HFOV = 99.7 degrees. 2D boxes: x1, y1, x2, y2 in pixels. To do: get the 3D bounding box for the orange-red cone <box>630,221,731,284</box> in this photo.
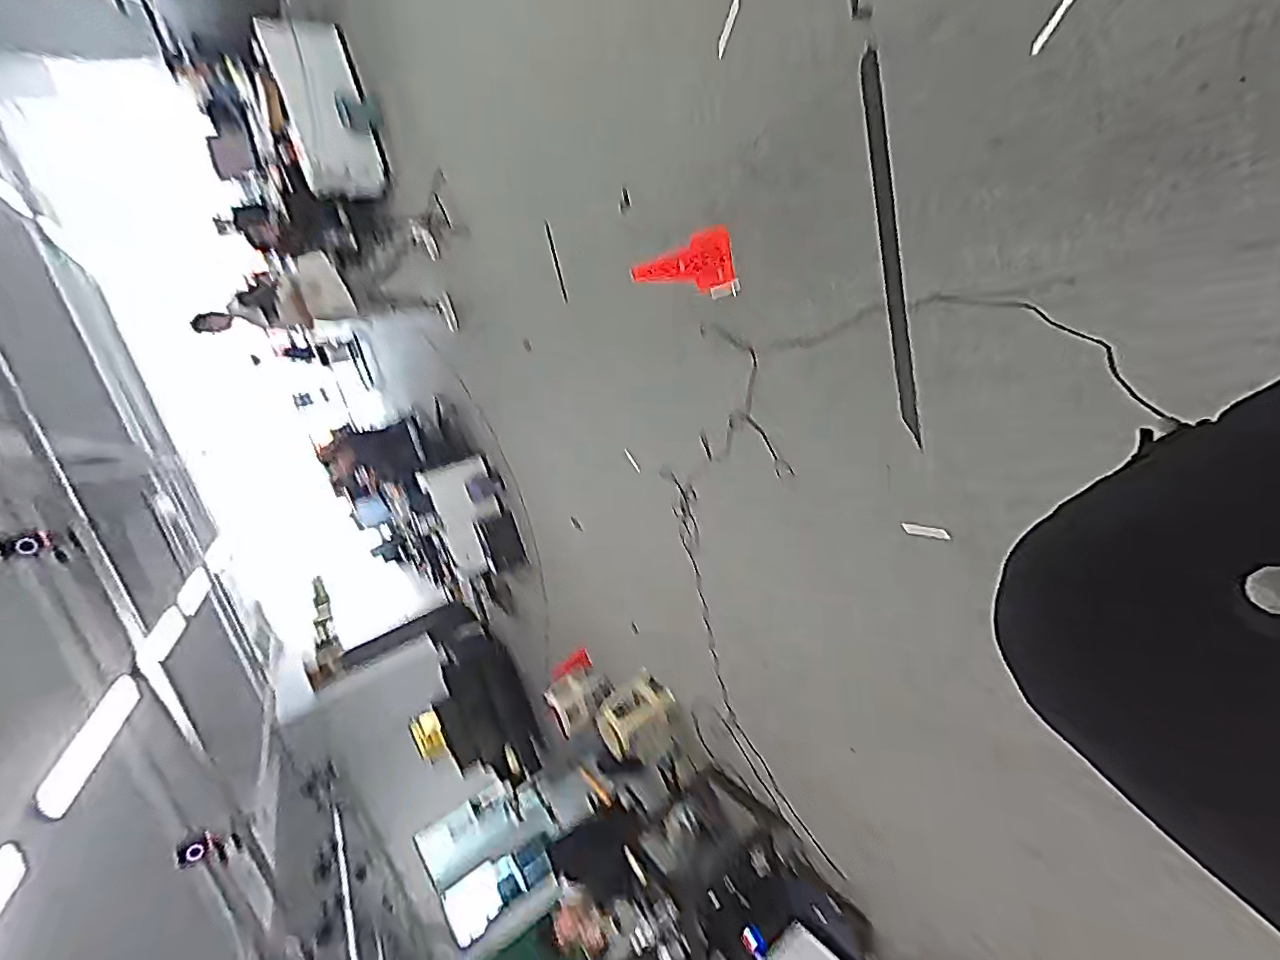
[{"bbox_3d":[0.117,-0.766,1.879,0.198,0.360,0.199,18,124,52],"label":"orange-red cone"}]
